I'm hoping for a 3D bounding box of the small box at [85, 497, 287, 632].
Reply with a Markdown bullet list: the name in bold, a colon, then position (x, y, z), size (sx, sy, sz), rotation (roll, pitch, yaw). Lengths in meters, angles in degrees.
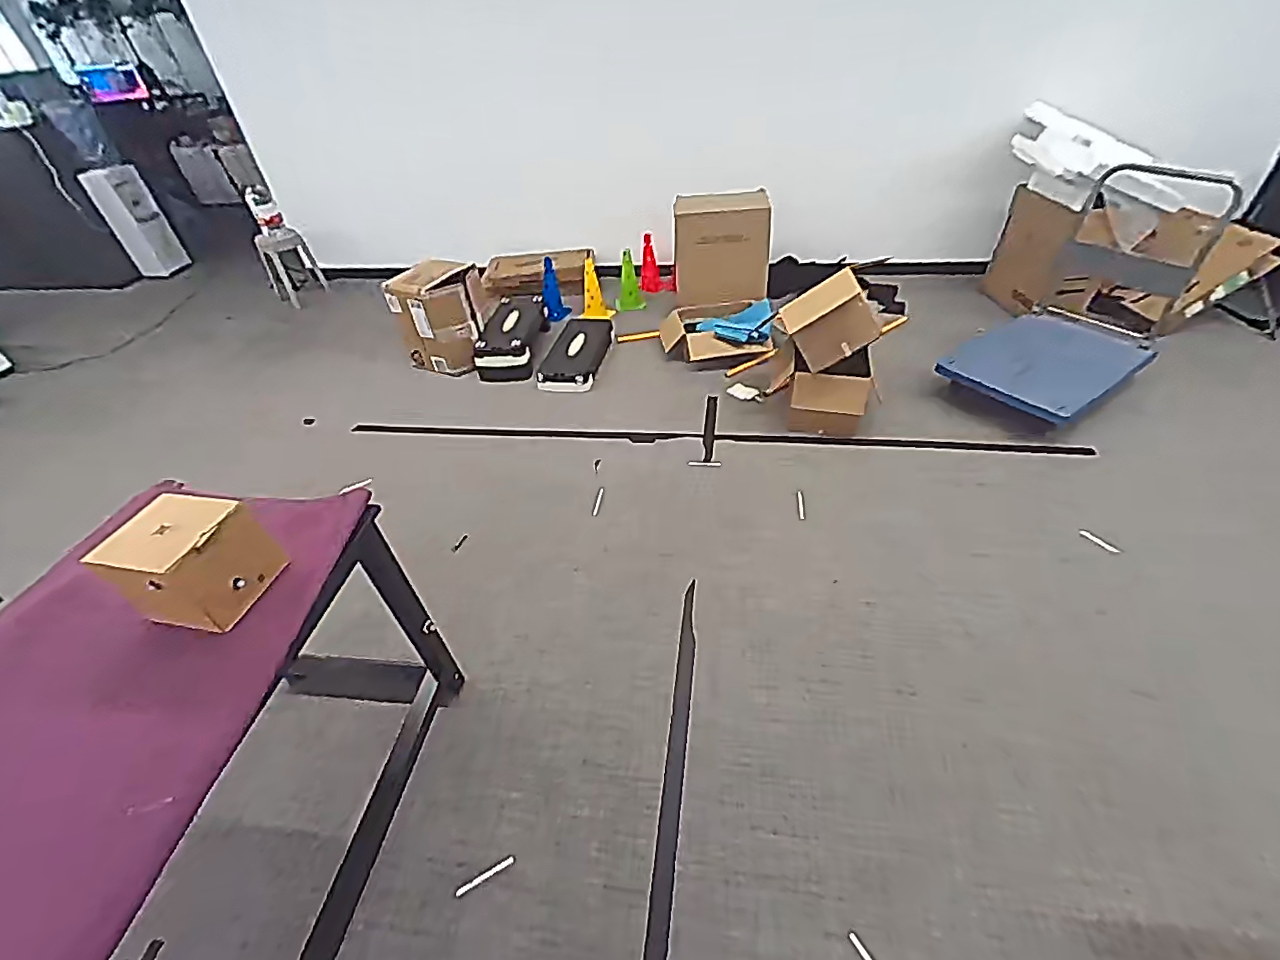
- **small box**: position (-0.790, 0.151, 0.961), size (0.179, 0.176, 0.168), rotation (4, 43, 12)
